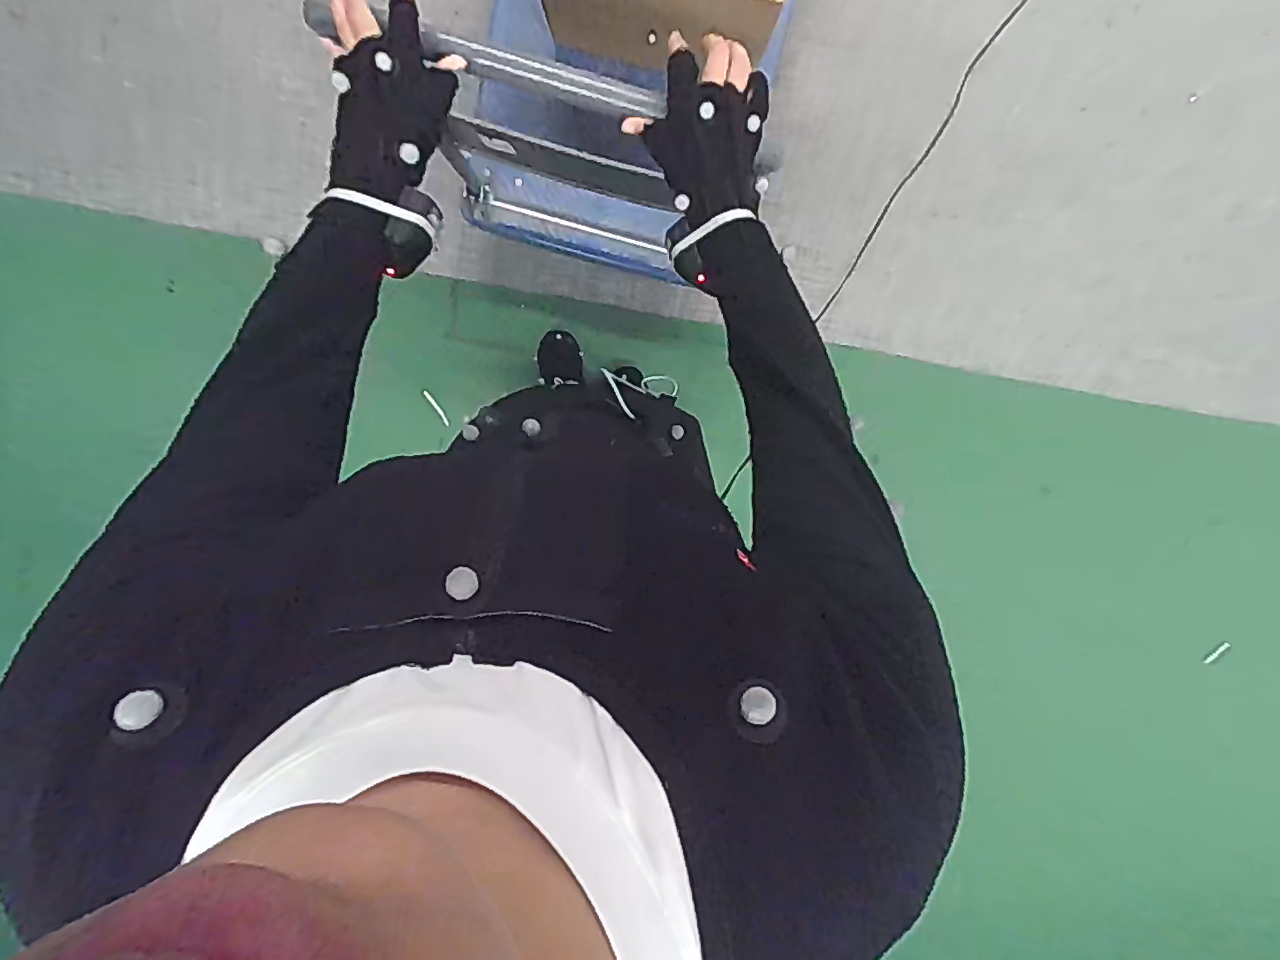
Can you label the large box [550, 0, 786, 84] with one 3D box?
[{"bbox_3d":[0.063,-0.951,0.920,0.408,0.320,0.320,12,103,-3],"label":"large box"}]
